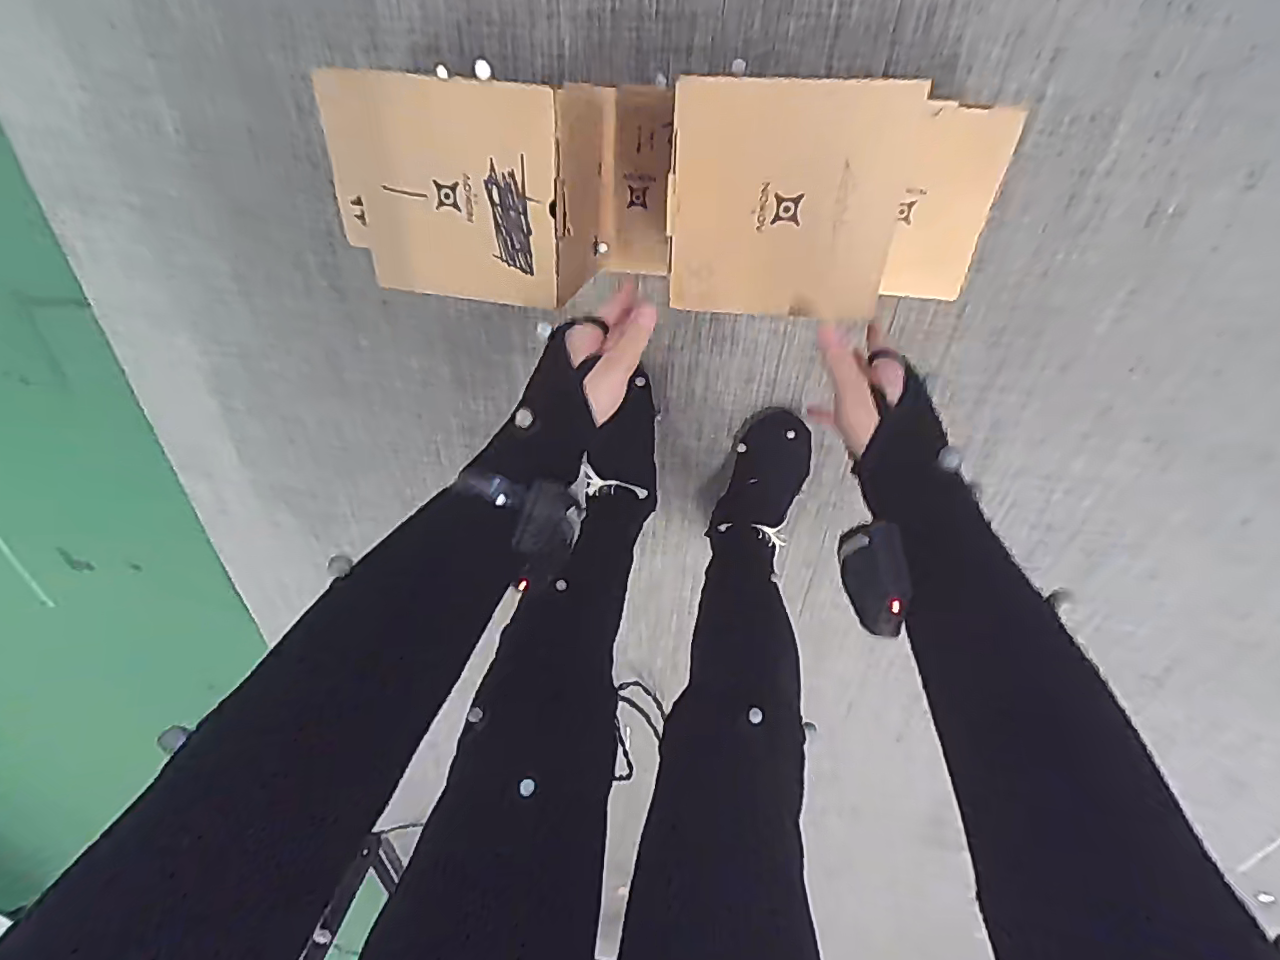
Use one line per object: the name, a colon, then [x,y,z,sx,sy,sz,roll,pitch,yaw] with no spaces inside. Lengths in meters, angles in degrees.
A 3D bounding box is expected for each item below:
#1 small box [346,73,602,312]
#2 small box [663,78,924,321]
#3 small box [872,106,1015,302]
small box: [-0.138,-0.277,0.521,0.179,0.176,0.168,9,123,5]
small box: [0.119,-0.255,0.491,0.179,0.176,0.168,5,124,5]
small box: [0.276,-0.321,0.619,0.168,0.176,0.179,7,123,6]
